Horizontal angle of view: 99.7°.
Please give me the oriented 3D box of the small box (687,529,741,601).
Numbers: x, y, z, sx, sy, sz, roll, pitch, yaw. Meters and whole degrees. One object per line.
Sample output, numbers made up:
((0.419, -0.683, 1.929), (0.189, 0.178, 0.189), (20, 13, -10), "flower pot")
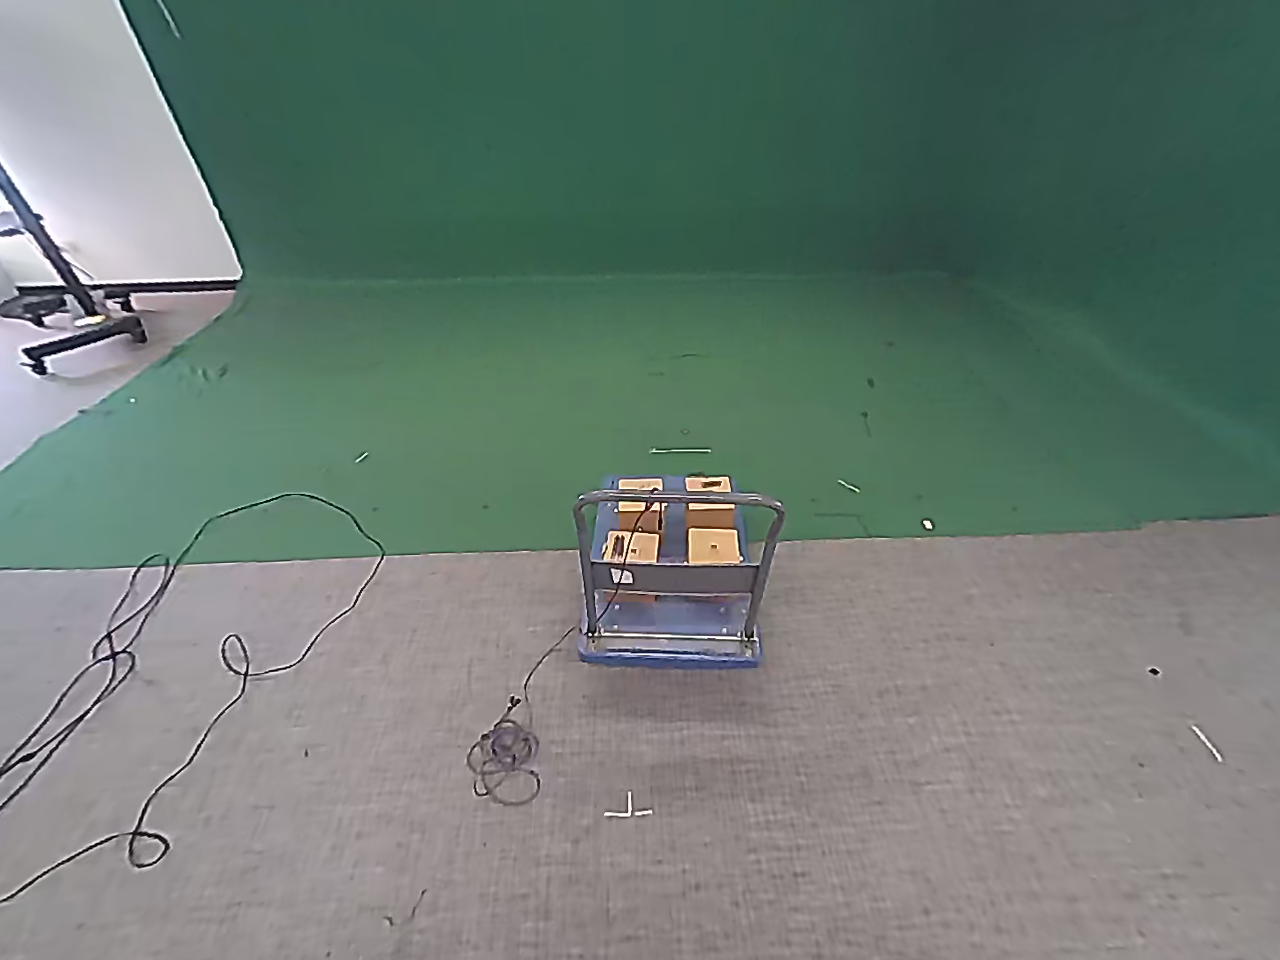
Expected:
((0.246, 0.288, 1.833), (0.168, 0.176, 0.179), (2, 41, 3), "small box")

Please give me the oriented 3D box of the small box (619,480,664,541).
((0.006, 0.118, 2.035), (0.168, 0.176, 0.179), (-1, 41, -1), "small box")

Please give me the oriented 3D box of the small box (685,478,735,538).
((0.258, 0.111, 2.037), (0.168, 0.176, 0.179), (-2, 41, 0), "small box")
